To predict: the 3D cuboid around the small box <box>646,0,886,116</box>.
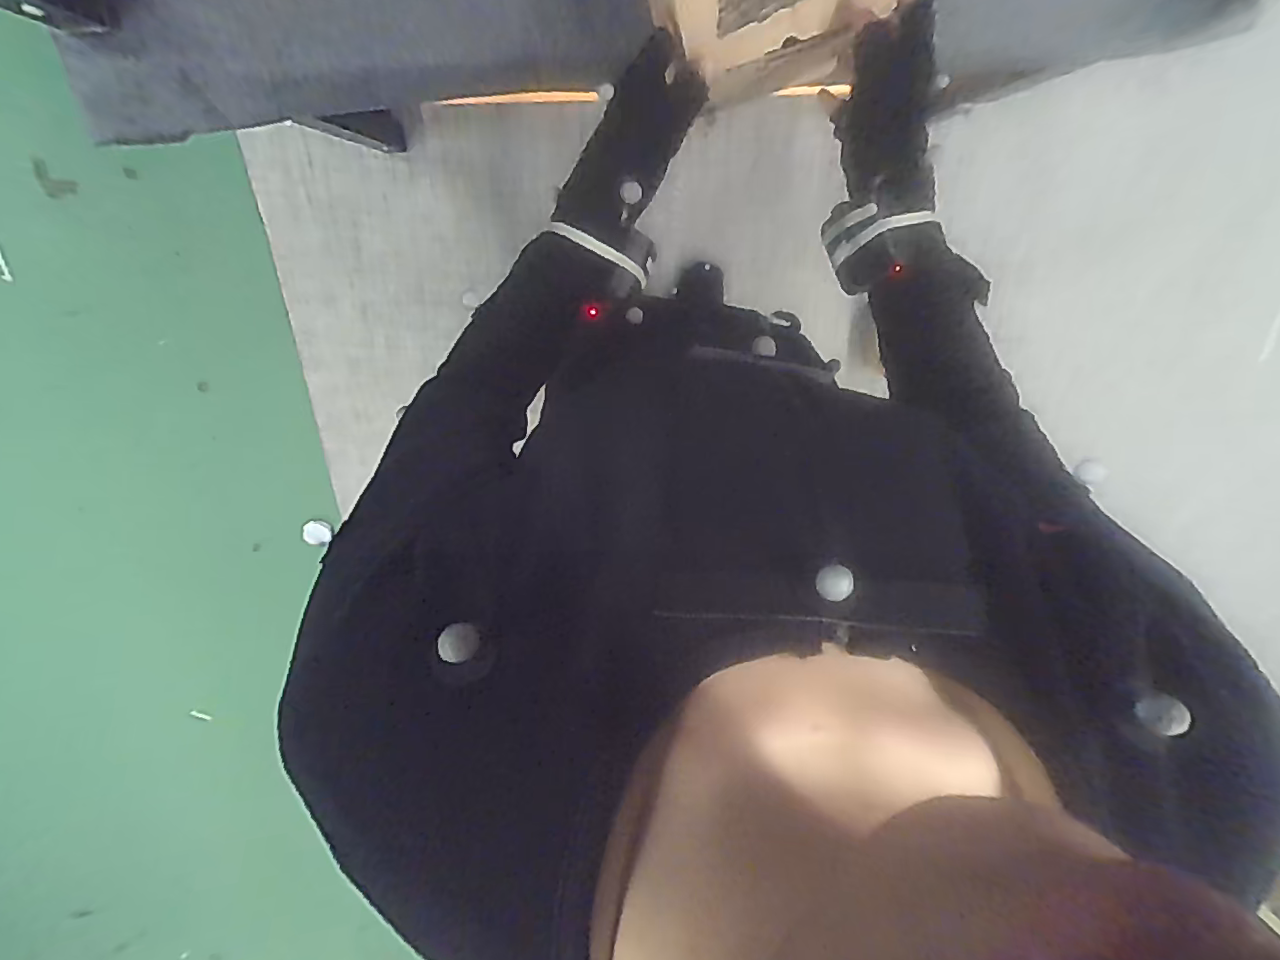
[{"bbox_3d":[0.091,-0.440,0.464,0.168,0.176,0.179,-14,112,6],"label":"small box"}]
